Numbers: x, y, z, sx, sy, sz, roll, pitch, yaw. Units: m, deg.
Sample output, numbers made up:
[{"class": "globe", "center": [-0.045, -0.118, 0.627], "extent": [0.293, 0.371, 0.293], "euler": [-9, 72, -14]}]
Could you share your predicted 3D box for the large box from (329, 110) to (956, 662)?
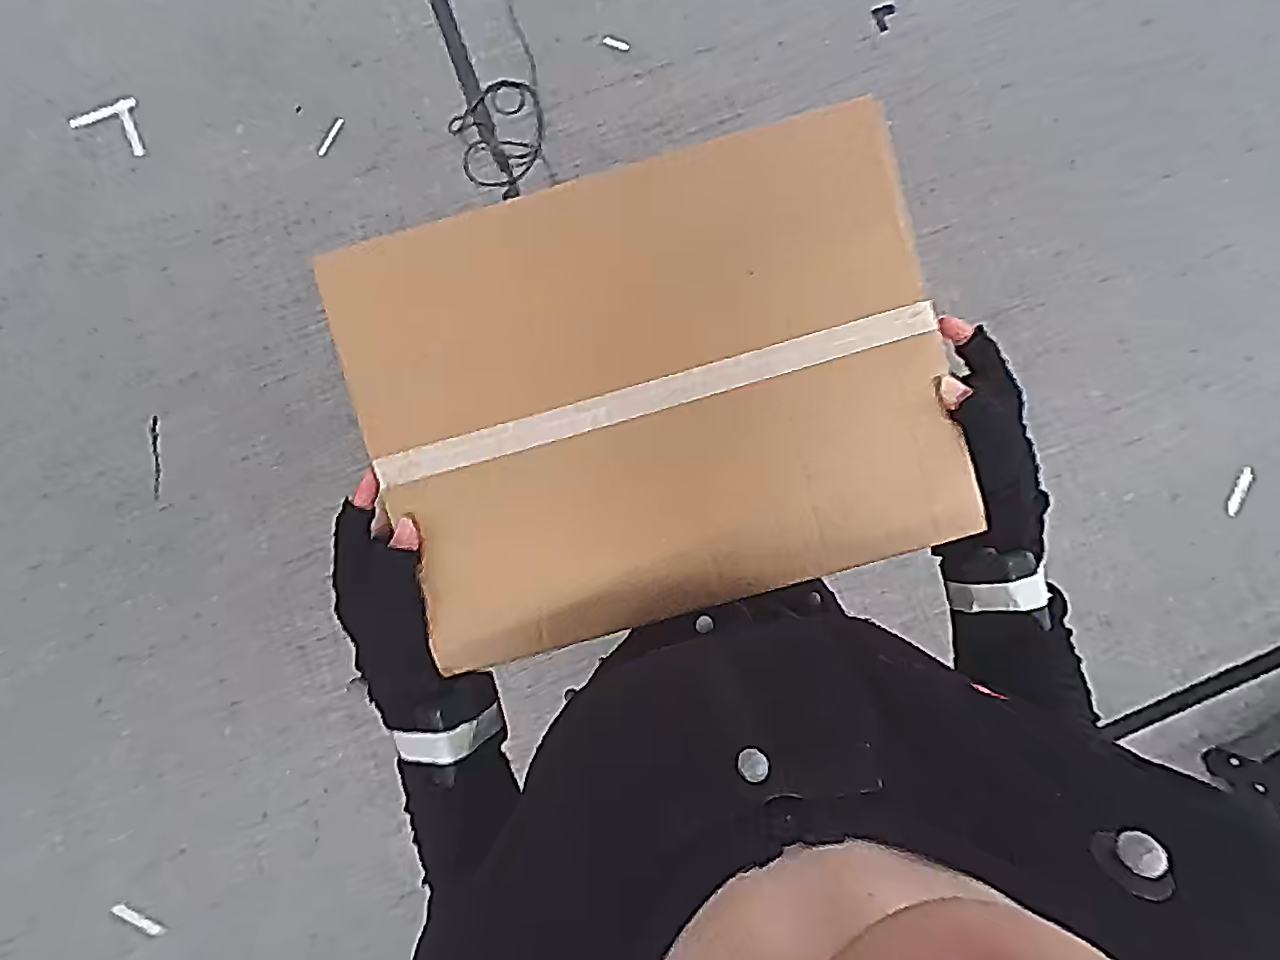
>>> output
[{"class": "large box", "center": [0.006, -0.073, 0.542], "extent": [0.408, 0.320, 0.320], "euler": [-16, 92, 1]}]
